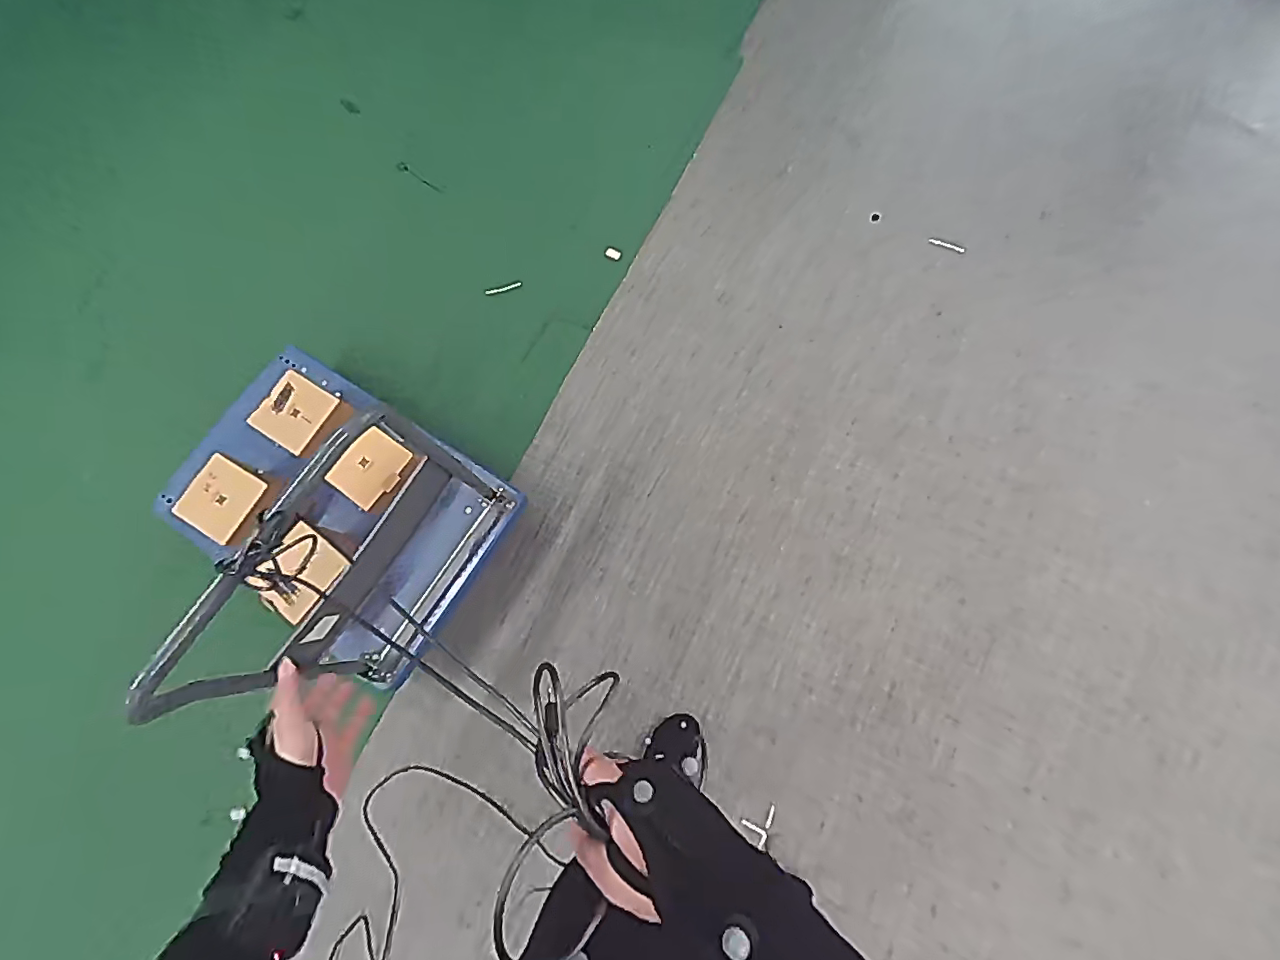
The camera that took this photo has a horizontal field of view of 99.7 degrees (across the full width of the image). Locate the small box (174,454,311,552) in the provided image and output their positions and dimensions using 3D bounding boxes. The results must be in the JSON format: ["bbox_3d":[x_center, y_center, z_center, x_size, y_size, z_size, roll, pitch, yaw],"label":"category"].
[{"bbox_3d":[-0.970,0.065,1.338,0.179,0.176,0.168,28,78,12],"label":"small box"}]

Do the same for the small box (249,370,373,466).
[{"bbox_3d":[-0.828,-0.144,1.382,0.179,0.176,0.168,30,80,11],"label":"small box"}]

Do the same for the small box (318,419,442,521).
[{"bbox_3d":[-0.629,-0.016,1.330,0.179,0.176,0.168,33,80,12],"label":"small box"}]
